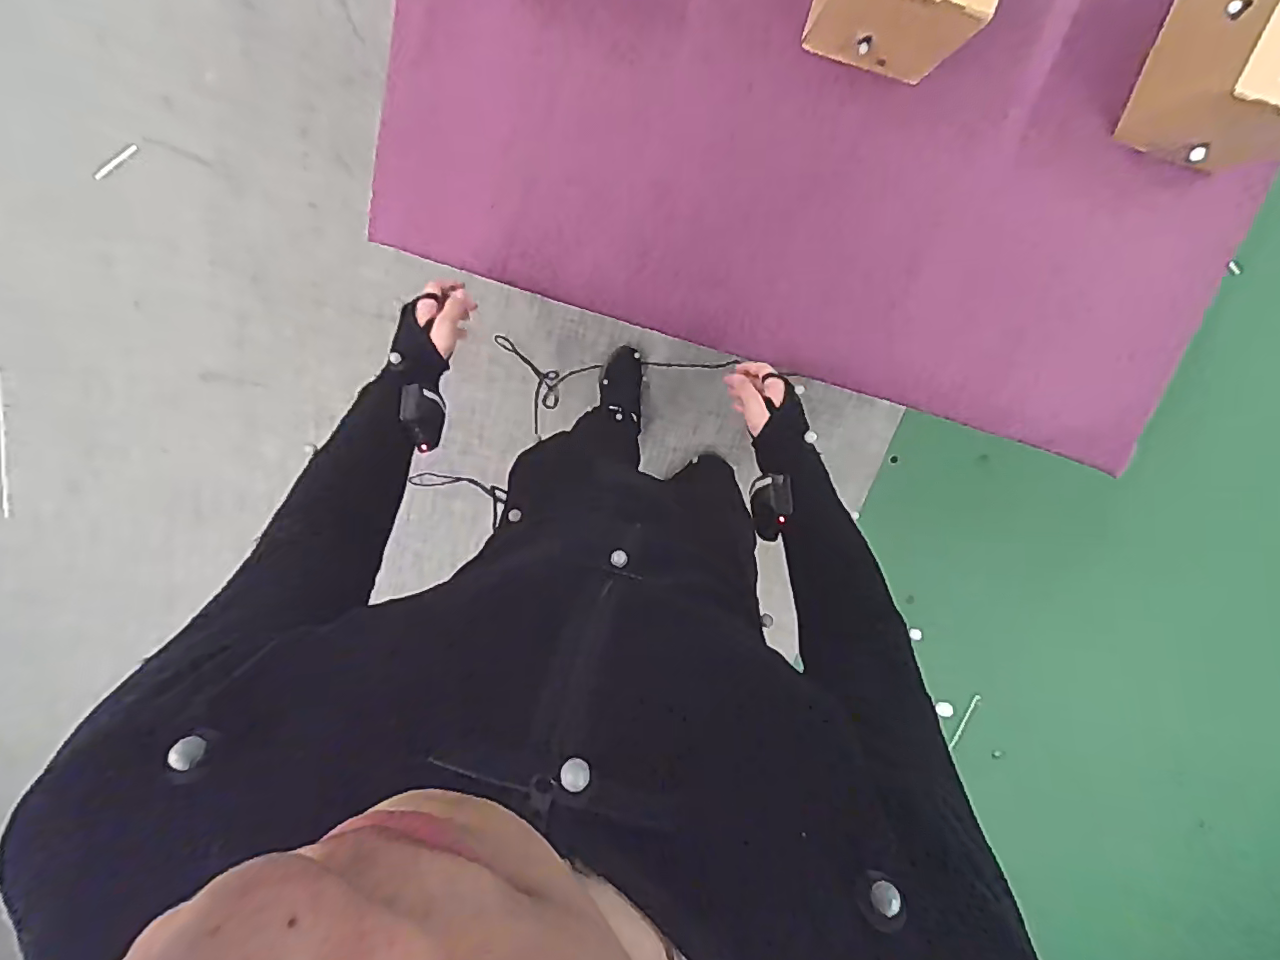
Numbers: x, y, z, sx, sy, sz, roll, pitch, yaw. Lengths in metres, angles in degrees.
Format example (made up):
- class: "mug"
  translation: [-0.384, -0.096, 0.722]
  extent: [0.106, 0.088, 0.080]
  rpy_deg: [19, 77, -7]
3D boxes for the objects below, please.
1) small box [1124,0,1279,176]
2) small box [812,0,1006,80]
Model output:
- class: "small box"
  translation: [0.743, -0.494, 0.639]
  extent: [0.168, 0.176, 0.179]
  rpy_deg: [16, 106, -2]
- class: "small box"
  translation: [0.316, -0.601, 0.608]
  extent: [0.168, 0.176, 0.179]
  rpy_deg: [14, 107, -5]
